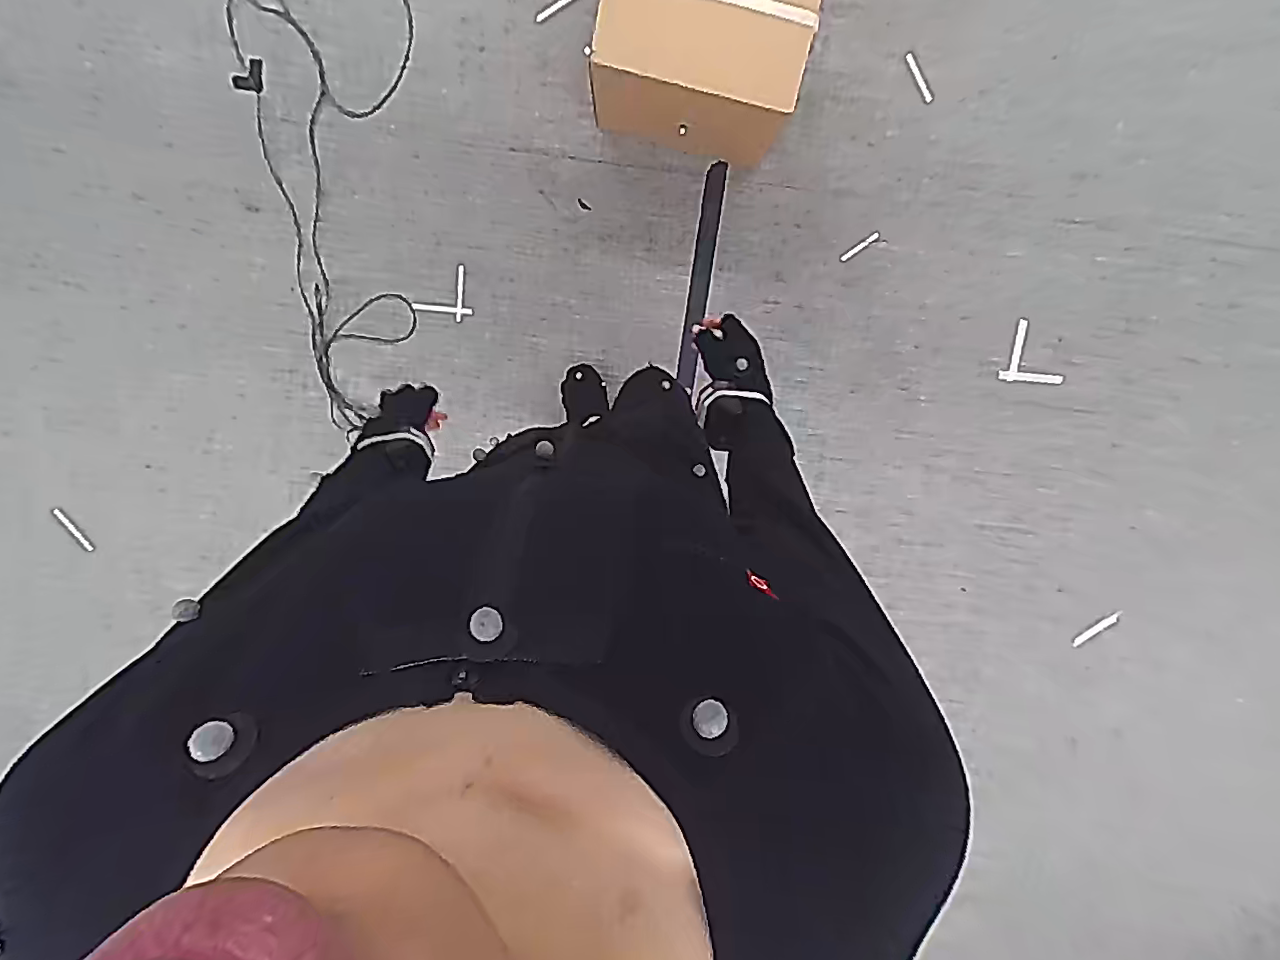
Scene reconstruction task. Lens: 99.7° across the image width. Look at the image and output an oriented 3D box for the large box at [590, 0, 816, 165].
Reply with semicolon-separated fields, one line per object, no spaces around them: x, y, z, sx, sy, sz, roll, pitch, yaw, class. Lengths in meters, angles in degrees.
0.127;-0.925;1.153;0.408;0.320;0.320;12;101;-3;large box
